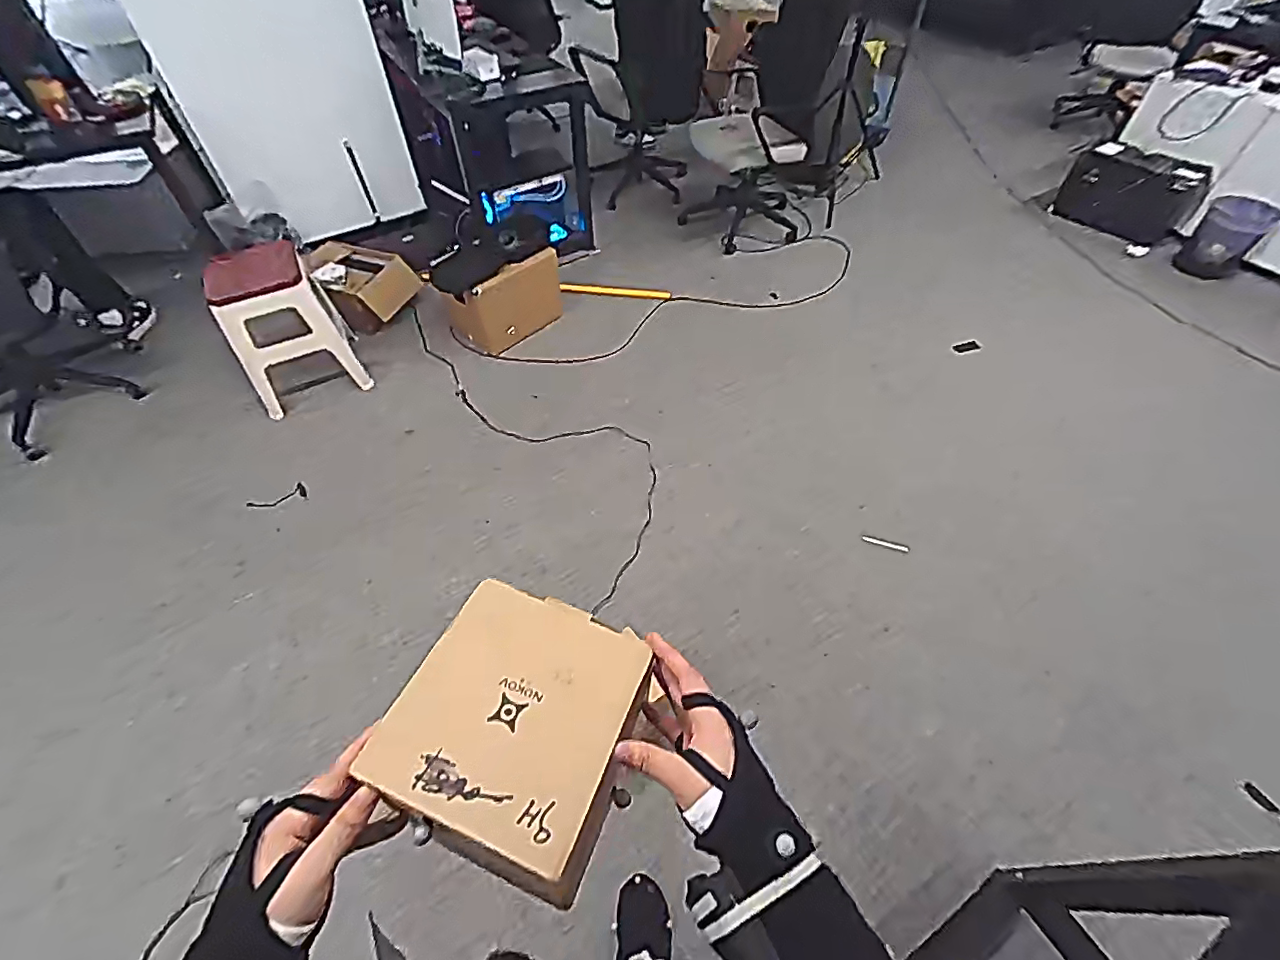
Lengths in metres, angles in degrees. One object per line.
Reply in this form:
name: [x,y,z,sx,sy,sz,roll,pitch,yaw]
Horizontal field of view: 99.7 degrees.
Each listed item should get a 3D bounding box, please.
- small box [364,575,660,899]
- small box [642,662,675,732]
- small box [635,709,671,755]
small box: [-0.094,0.221,0.472,0.168,0.176,0.179,17,47,14]
small box: [-0.040,0.468,1.195,0.179,0.176,0.168,-30,59,-23]
small box: [-0.044,0.572,1.320,0.179,0.176,0.168,-29,57,-19]
